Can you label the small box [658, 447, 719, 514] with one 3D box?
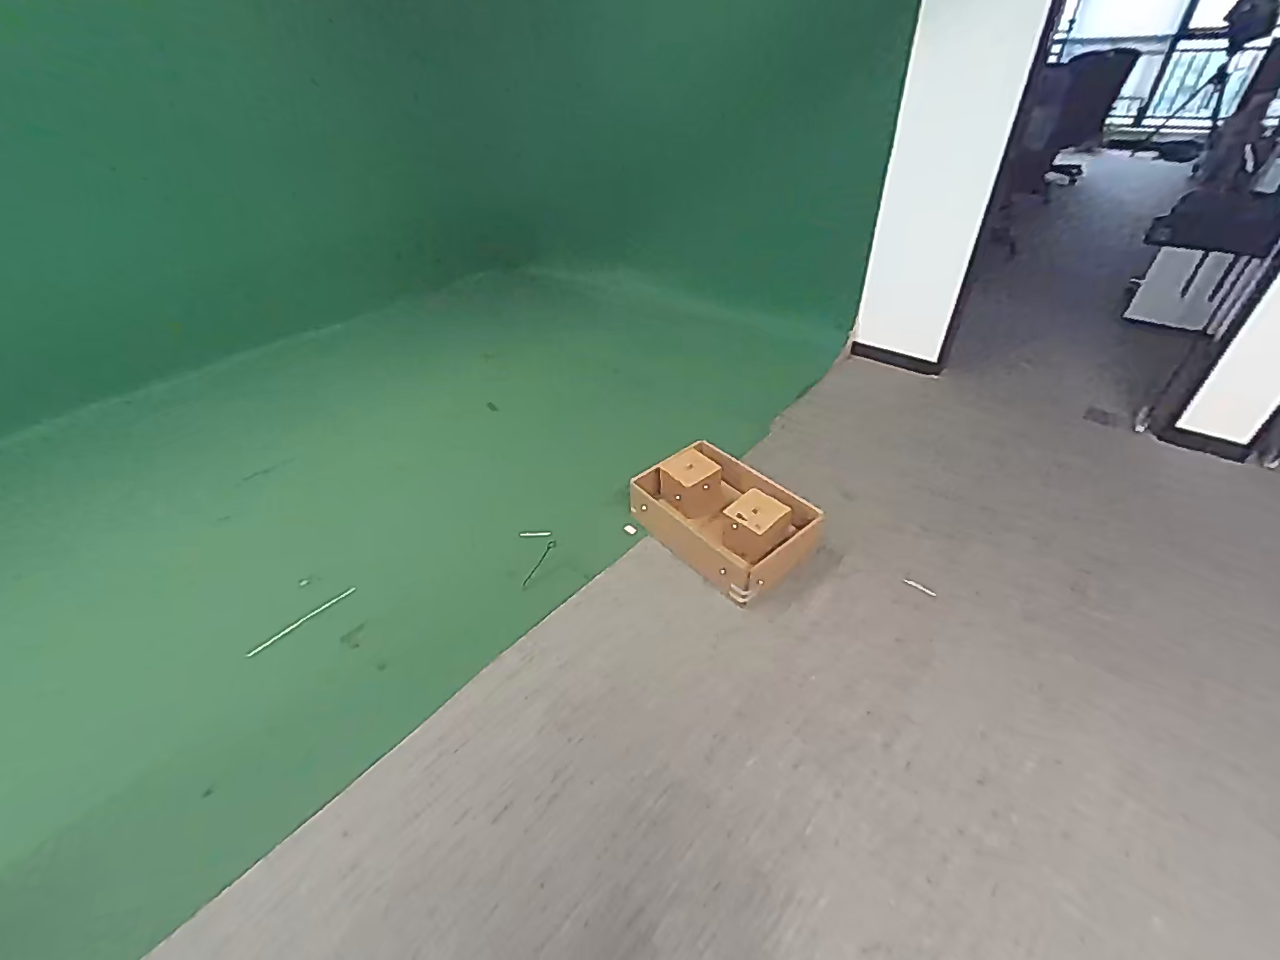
[{"bbox_3d":[0.191,0.004,2.111,0.179,0.176,0.168,-29,47,-26],"label":"small box"}]
